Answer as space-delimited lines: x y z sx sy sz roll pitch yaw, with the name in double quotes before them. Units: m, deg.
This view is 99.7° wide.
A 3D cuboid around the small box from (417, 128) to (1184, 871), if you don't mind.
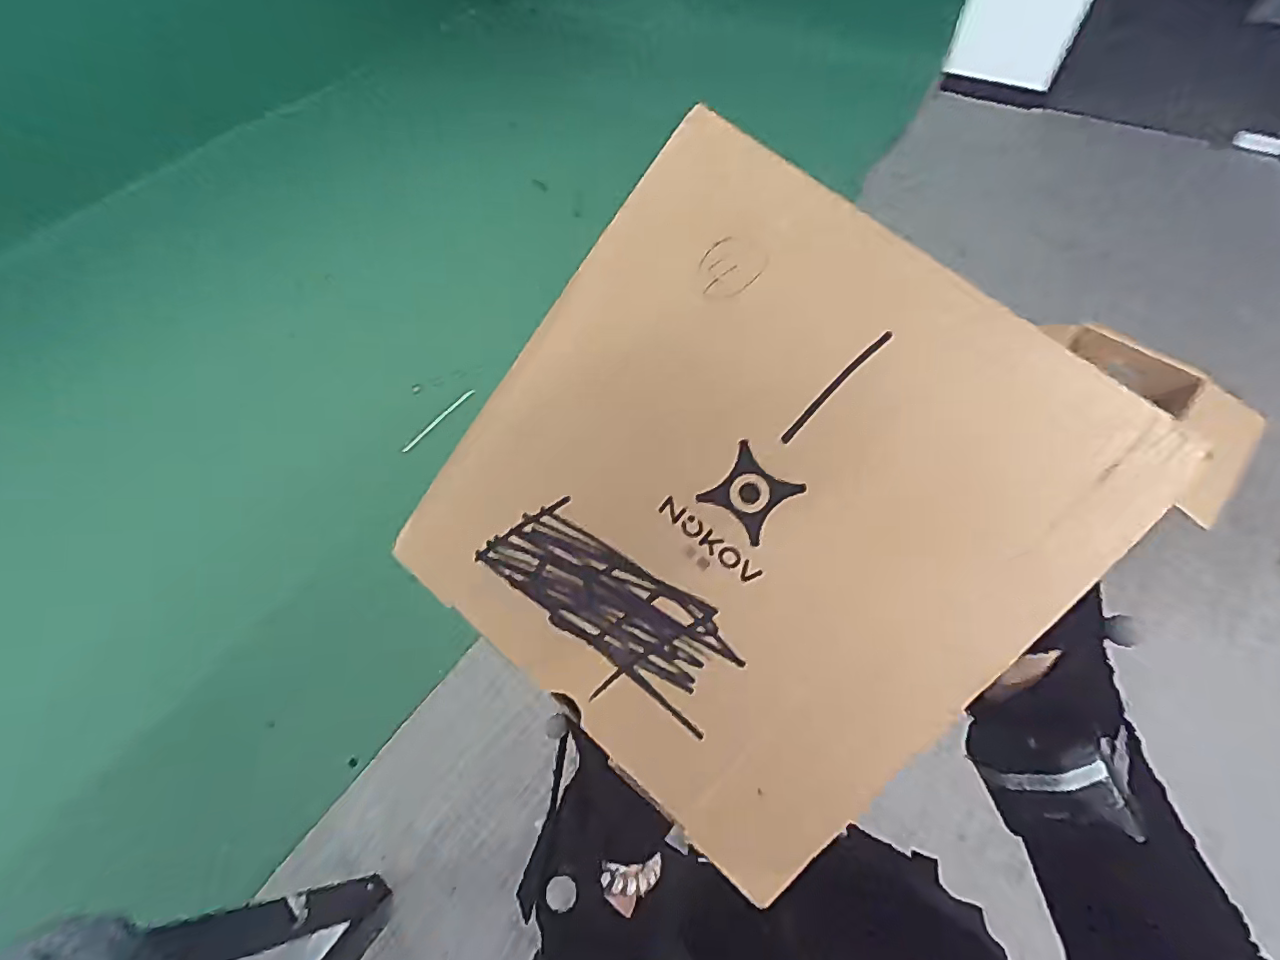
"small box" 0.049 0.006 0.245 0.168 0.176 0.179 41 102 10
